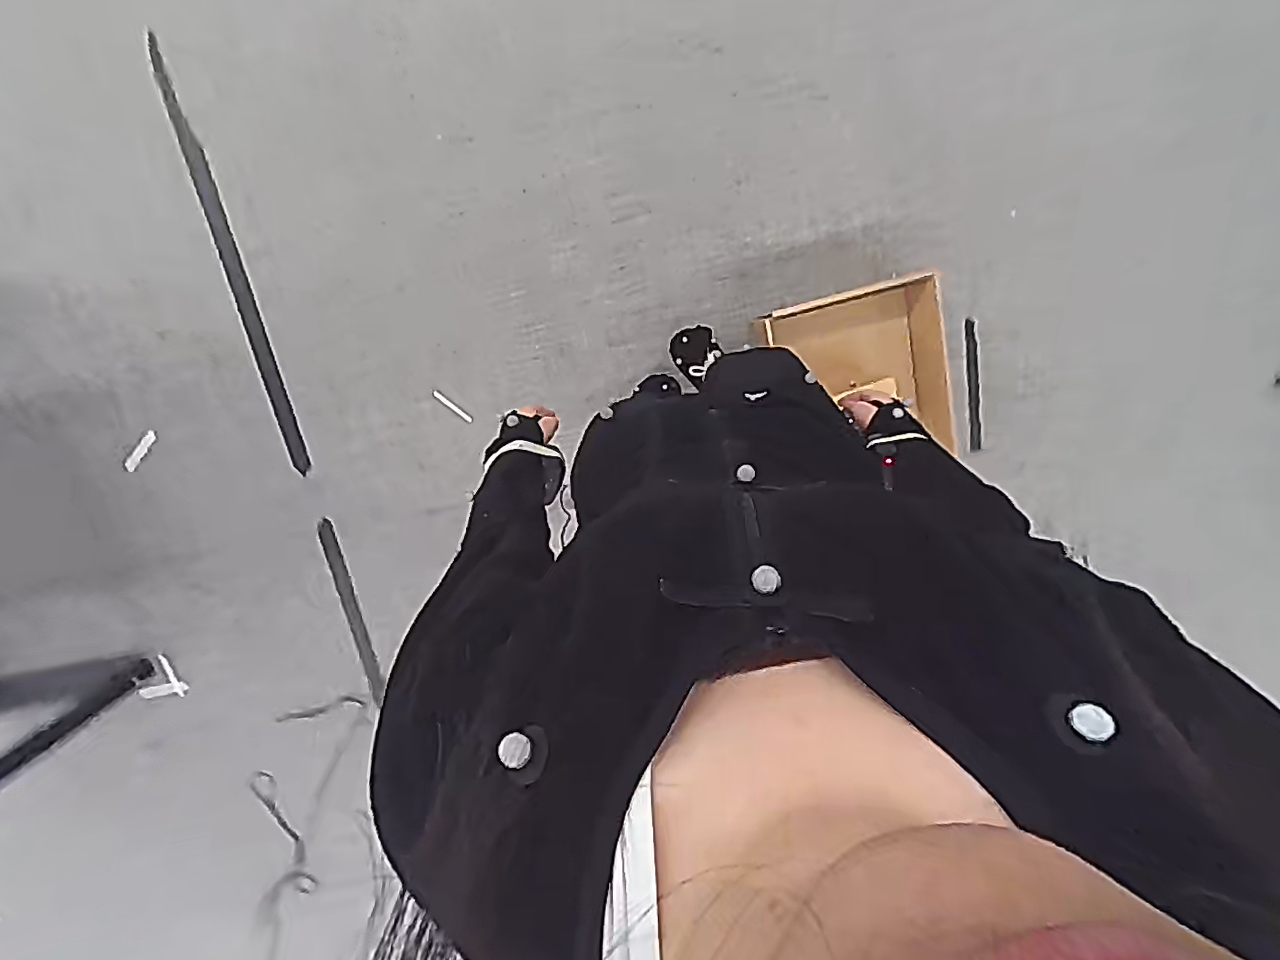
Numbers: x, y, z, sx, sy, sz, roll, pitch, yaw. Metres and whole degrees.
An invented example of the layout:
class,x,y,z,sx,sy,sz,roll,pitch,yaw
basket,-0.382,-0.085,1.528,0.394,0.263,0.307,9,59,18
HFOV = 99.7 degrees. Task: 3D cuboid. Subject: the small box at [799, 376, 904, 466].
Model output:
class,x,y,z,sx,sy,sz,roll,pitch,yaw
small box,0.523,-0.155,1.355,0.179,0.176,0.168,-19,104,4
